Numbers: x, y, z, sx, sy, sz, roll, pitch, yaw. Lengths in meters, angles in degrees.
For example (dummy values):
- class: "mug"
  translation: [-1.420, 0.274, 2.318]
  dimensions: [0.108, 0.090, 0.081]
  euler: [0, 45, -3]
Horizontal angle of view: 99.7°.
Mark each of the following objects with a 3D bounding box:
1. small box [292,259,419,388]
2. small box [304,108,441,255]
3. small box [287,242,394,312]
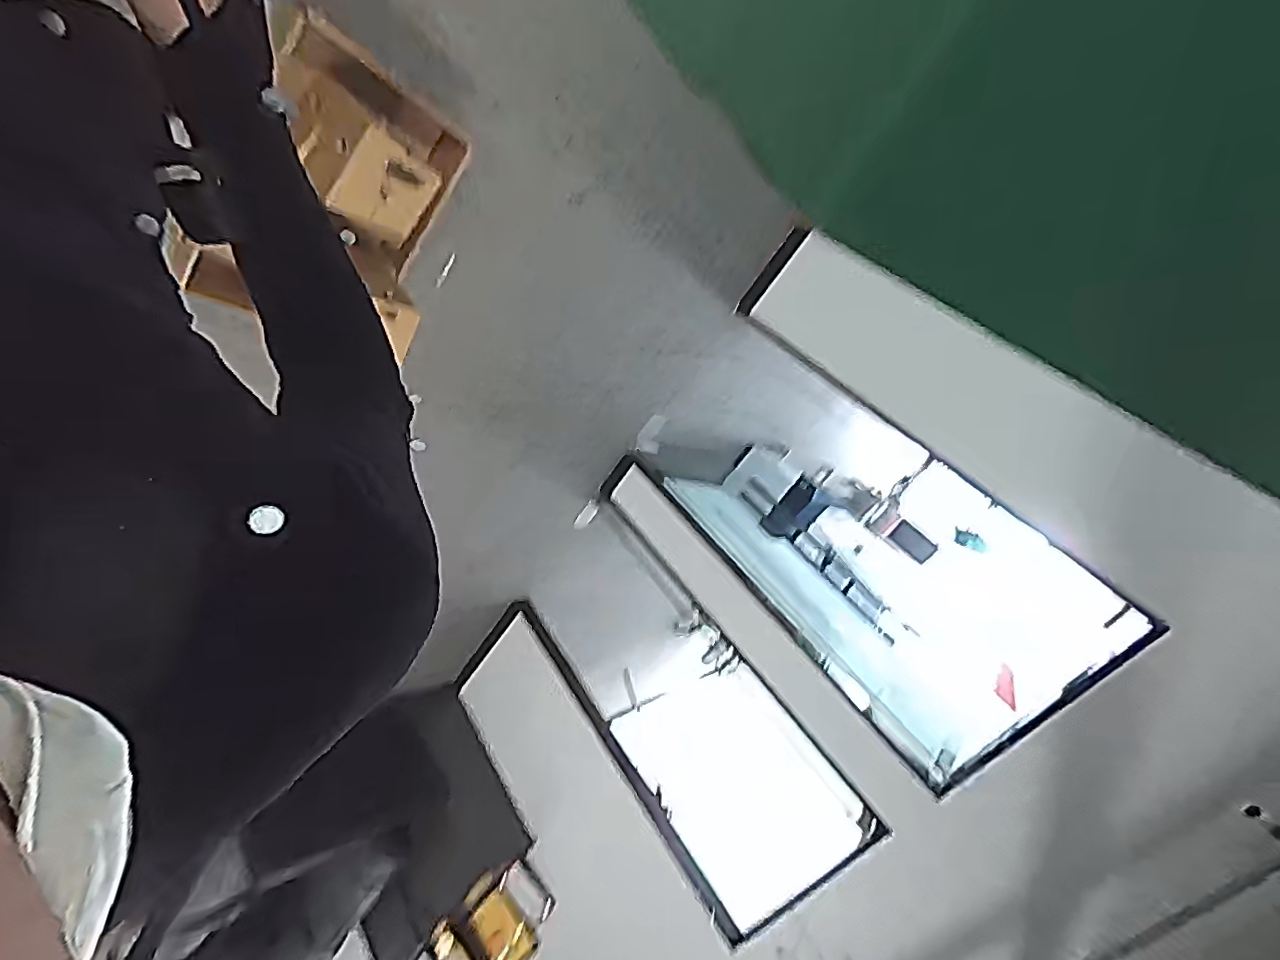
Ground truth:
- class: "small box"
  translation: [-0.593, -0.319, 1.118]
  dimensions: [0.168, 0.176, 0.179]
  euler: [3, 129, -52]
- class: "small box"
  translation: [-0.553, -0.612, 1.109]
  dimensions: [0.179, 0.176, 0.168]
  euler: [-48, 151, 13]
- class: "small box"
  translation: [-0.676, -0.420, 1.220]
  dimensions: [0.179, 0.176, 0.168]
  euler: [-17, 142, -39]
